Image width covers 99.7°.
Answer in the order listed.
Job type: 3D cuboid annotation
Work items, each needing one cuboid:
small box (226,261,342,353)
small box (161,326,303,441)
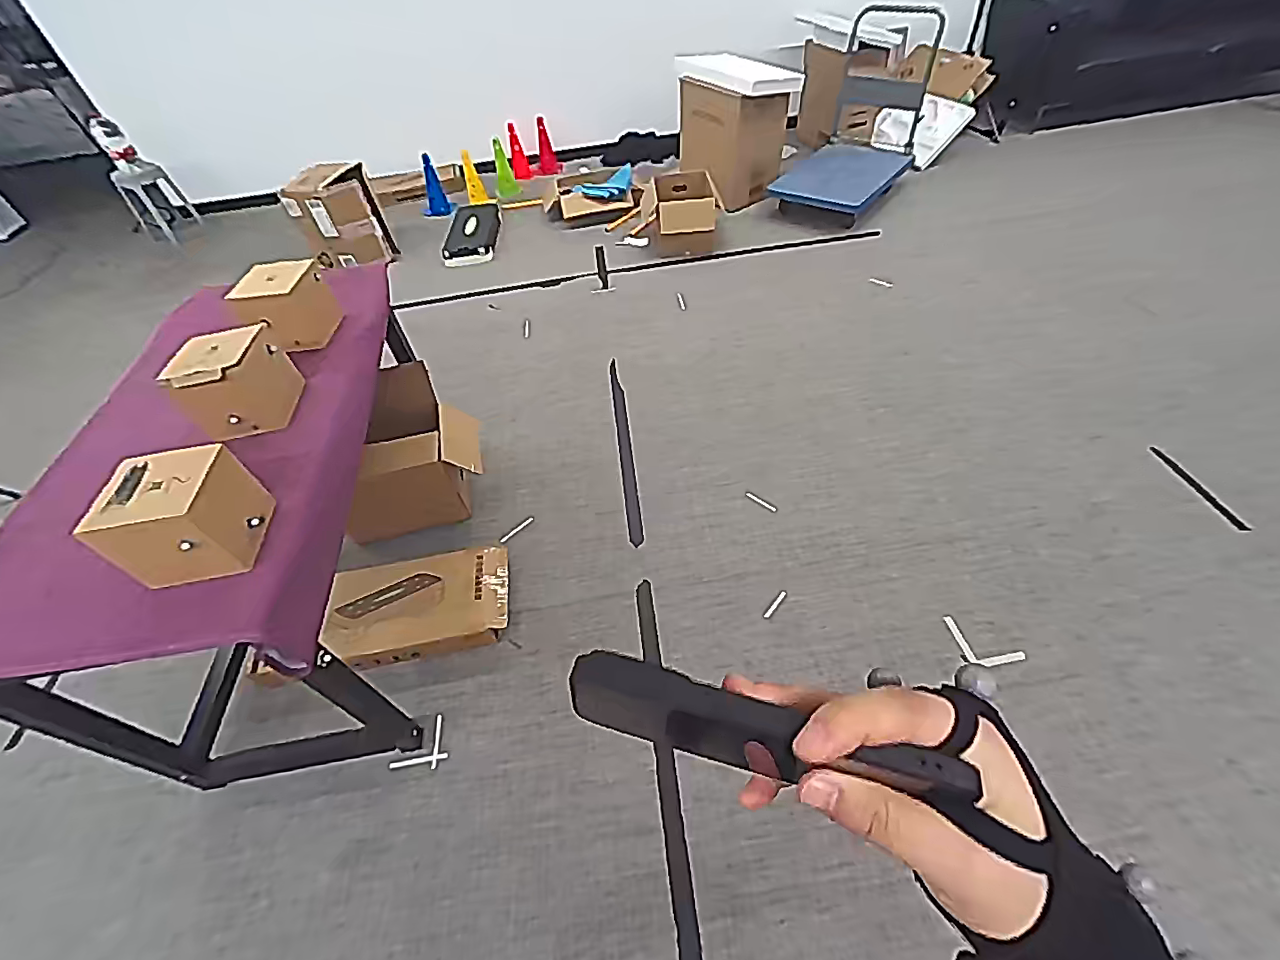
[{"bbox_3d":[-0.921,-0.448,1.420,0.168,0.176,0.179,-5,48,2],"label":"small box"},{"bbox_3d":[-0.893,-0.214,1.206,0.168,0.176,0.179,-12,48,-1],"label":"small box"}]
